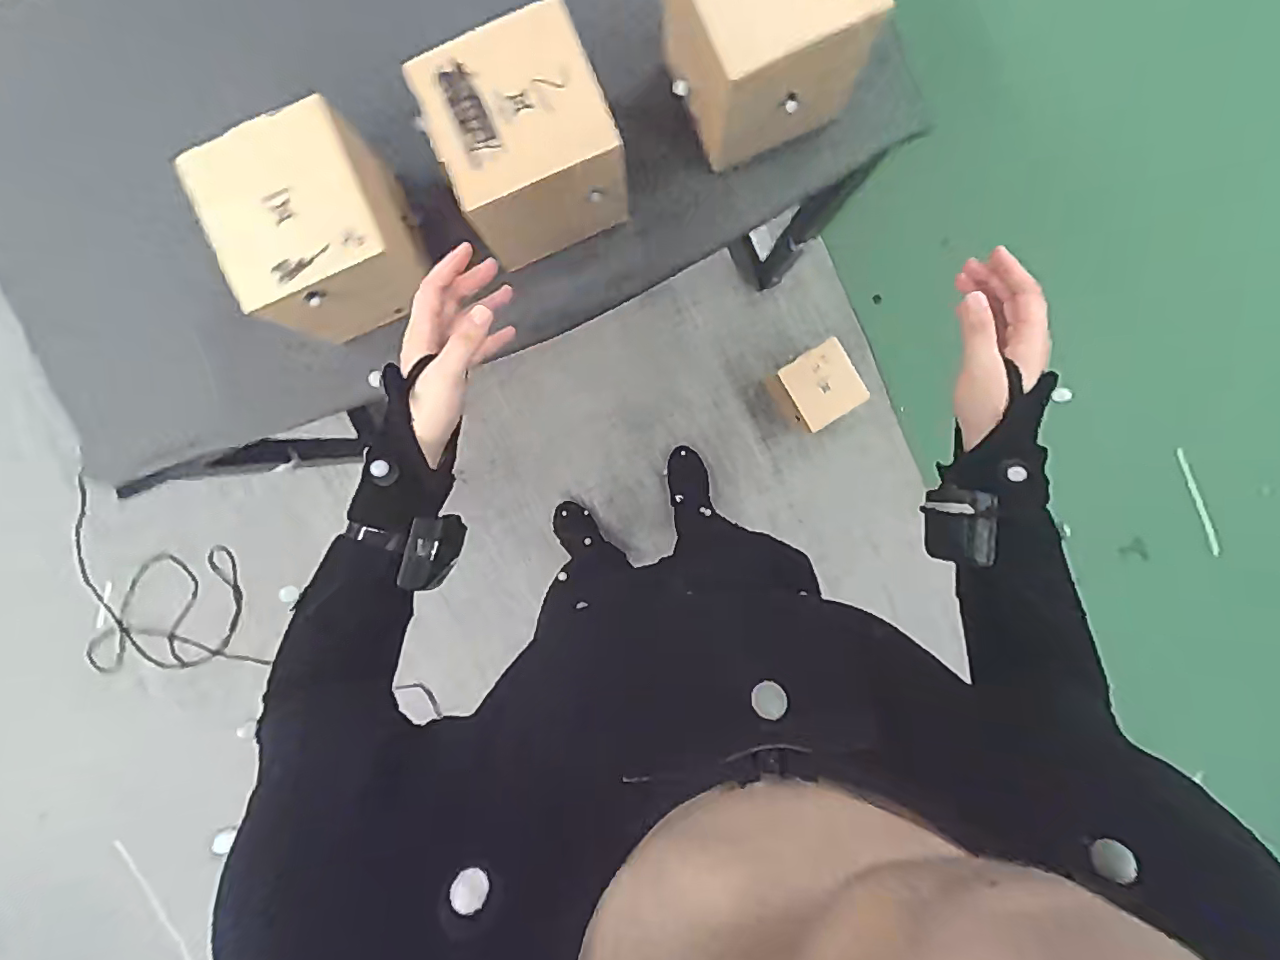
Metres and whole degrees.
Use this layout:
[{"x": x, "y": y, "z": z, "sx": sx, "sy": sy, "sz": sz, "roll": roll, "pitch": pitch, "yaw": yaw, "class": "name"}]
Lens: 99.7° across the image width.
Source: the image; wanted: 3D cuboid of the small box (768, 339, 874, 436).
[{"x": 0.447, "y": -0.226, "z": 1.361, "sx": 0.168, "sy": 0.176, "sz": 0.179, "roll": -31, "pitch": 93, "yaw": 3, "class": "small box"}]

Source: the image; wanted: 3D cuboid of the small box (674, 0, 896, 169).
[{"x": 0.145, "y": -0.499, "z": 0.610, "sx": 0.179, "sy": 0.176, "sz": 0.168, "roll": -23, "pitch": 90, "yaw": 3, "class": "small box"}]

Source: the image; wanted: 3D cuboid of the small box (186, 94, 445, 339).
[{"x": -0.362, "y": -0.290, "z": 0.637, "sx": 0.168, "sy": 0.176, "sz": 0.179, "roll": -22, "pitch": 91, "yaw": 3, "class": "small box"}]
